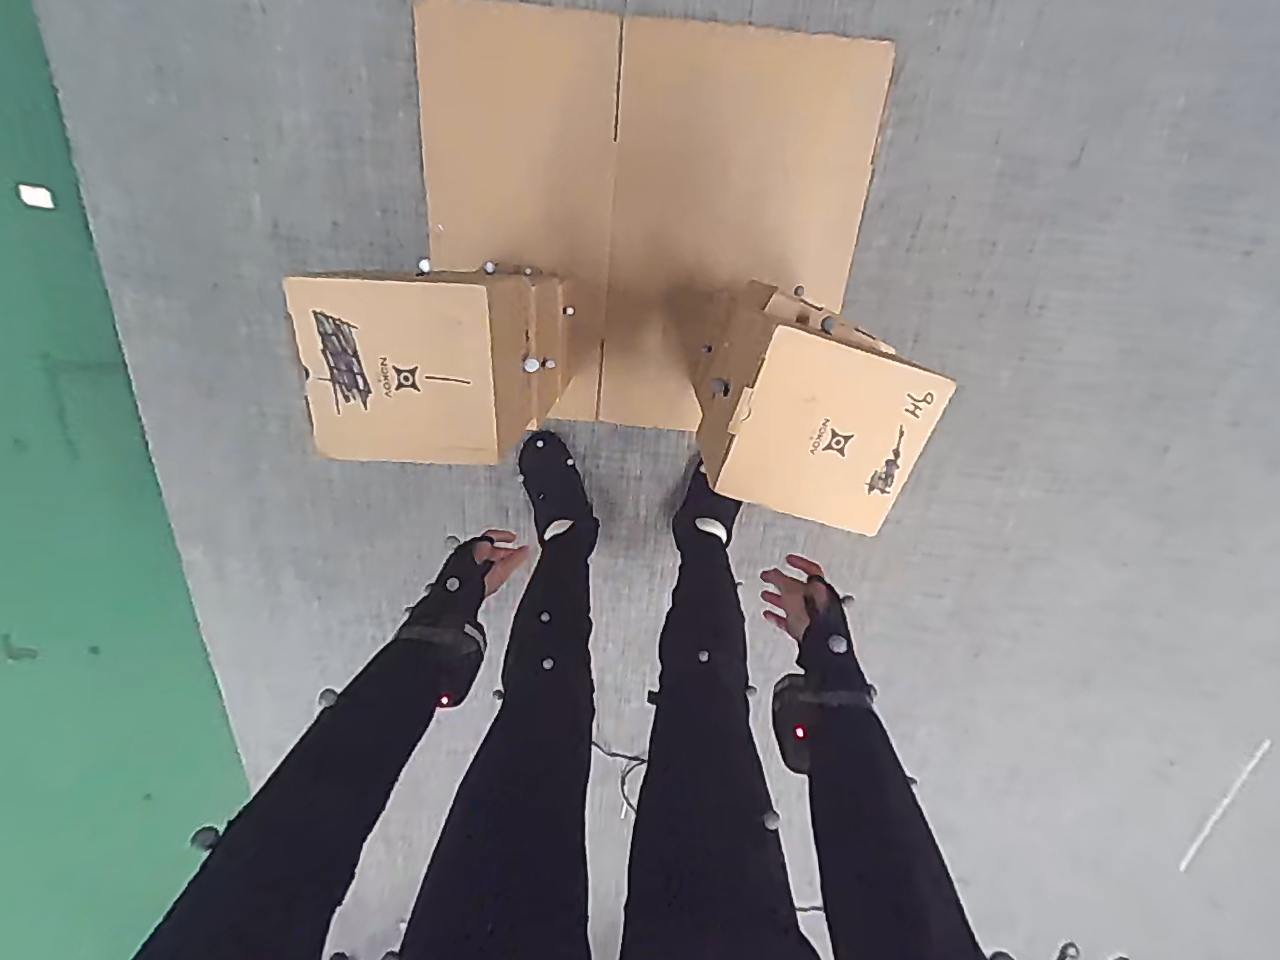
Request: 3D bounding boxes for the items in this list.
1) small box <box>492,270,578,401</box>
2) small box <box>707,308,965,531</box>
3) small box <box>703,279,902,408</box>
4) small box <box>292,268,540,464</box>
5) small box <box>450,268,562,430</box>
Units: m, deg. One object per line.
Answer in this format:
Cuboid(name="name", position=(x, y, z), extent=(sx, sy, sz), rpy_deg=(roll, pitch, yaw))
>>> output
Cuboid(name="small box", position=(-0.190, -0.236, 0.863), extent=(0.168, 0.176, 0.179), rpy_deg=(3, 112, 0))
Cuboid(name="small box", position=(0.180, -0.074, 0.566), extent=(0.179, 0.176, 0.168), rpy_deg=(16, 112, -6))
Cuboid(name="small box", position=(0.194, -0.148, 0.712), extent=(0.168, 0.176, 0.179), rpy_deg=(24, 112, -10))
Cuboid(name="small box", position=(-0.207, -0.125, 0.553), extent=(0.179, 0.176, 0.168), rpy_deg=(2, 113, 0))
Cuboid(name="small box", position=(-0.195, -0.178, 0.709), extent=(0.168, 0.176, 0.179), rpy_deg=(3, 112, -1))
